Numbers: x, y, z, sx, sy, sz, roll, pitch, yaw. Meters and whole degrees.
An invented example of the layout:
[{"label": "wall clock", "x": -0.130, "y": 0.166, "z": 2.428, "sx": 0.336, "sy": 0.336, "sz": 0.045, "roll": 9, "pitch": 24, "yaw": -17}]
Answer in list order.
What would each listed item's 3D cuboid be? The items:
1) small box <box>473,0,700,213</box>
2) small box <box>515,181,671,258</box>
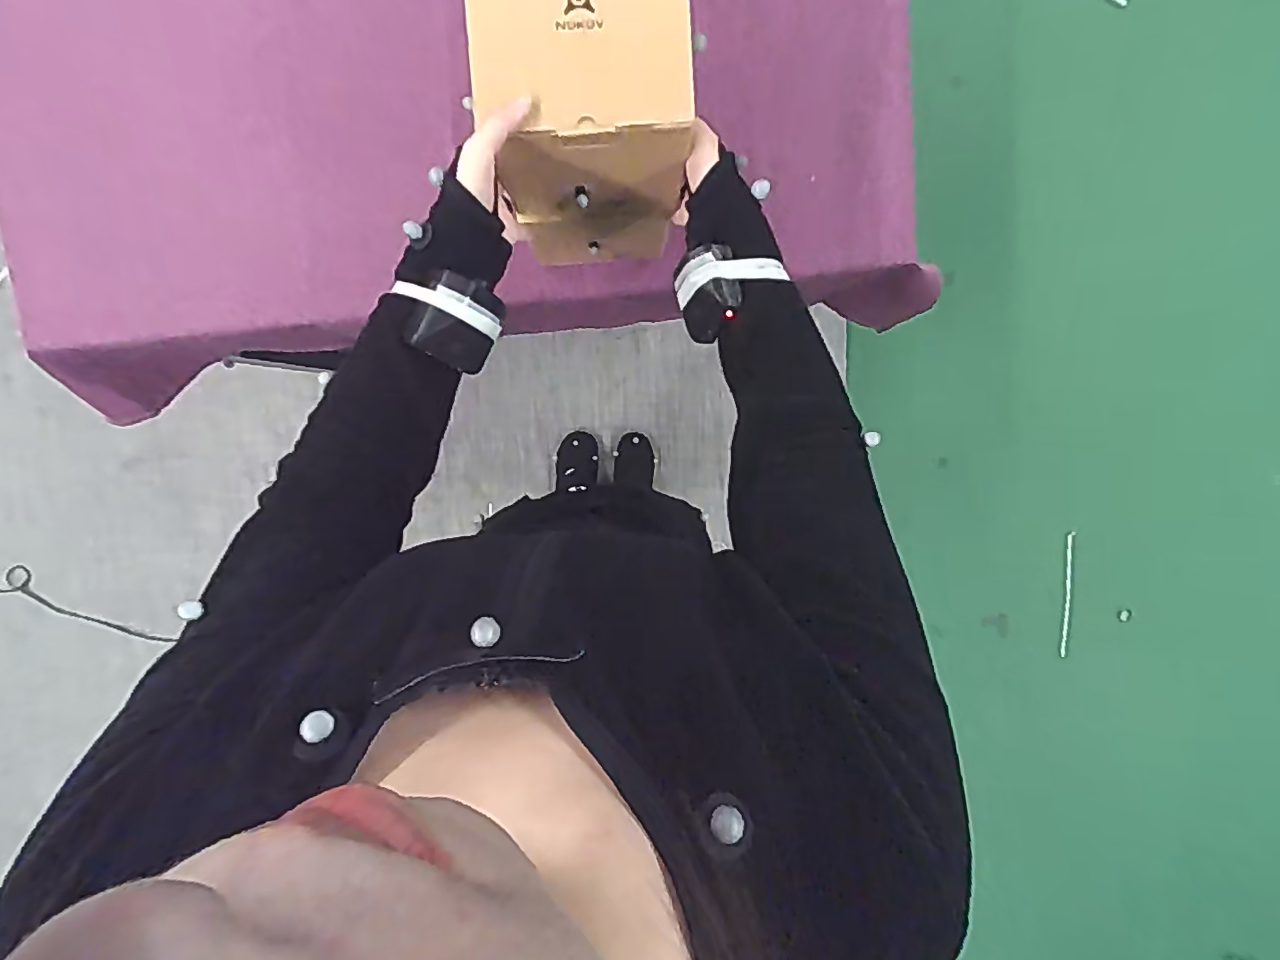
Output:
[{"label": "small box", "x": -0.043, "y": -0.358, "z": 0.473, "sx": 0.168, "sy": 0.176, "sz": 0.179, "roll": -4, "pitch": 99, "yaw": -1}, {"label": "small box", "x": -0.053, "y": -0.370, "z": 0.636, "sx": 0.168, "sy": 0.176, "sz": 0.179, "roll": -4, "pitch": 97, "yaw": -1}]
